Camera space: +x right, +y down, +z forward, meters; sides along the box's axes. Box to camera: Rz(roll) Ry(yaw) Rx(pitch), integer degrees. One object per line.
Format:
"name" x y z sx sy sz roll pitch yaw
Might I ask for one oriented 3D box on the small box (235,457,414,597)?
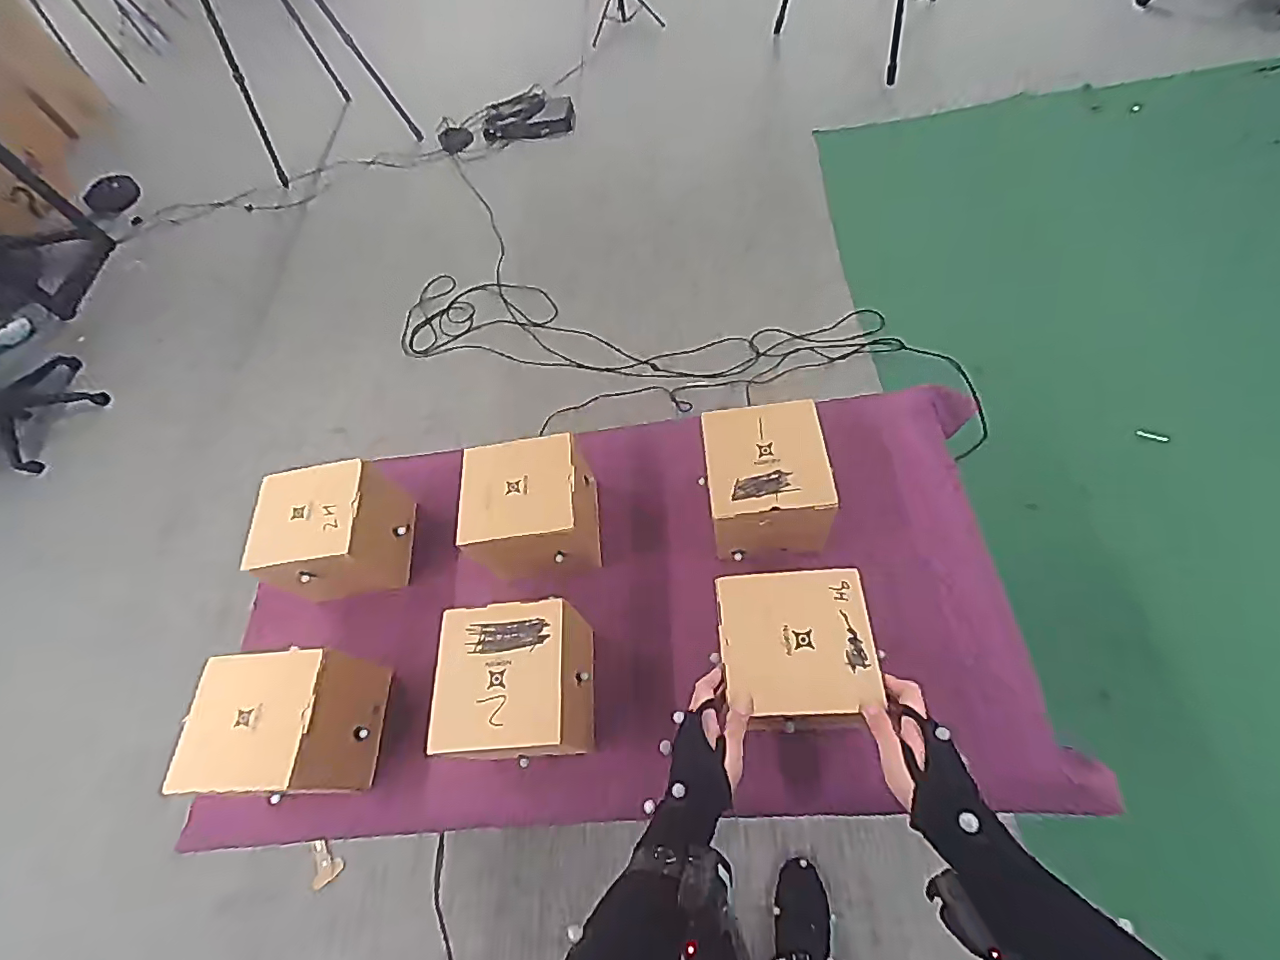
"small box" -0.505 0.085 0.893 0.179 0.176 0.168 -9 61 5

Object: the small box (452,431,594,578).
"small box" -0.171 0.045 0.856 0.179 0.176 0.168 -8 61 7

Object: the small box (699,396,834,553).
"small box" 0.182 0.002 0.811 0.168 0.176 0.179 -6 60 7

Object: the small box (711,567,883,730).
"small box" 0.189 0.221 0.690 0.179 0.176 0.168 -5 60 9

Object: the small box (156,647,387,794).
"small box" -0.493 0.340 0.753 0.179 0.176 0.168 -6 59 7
